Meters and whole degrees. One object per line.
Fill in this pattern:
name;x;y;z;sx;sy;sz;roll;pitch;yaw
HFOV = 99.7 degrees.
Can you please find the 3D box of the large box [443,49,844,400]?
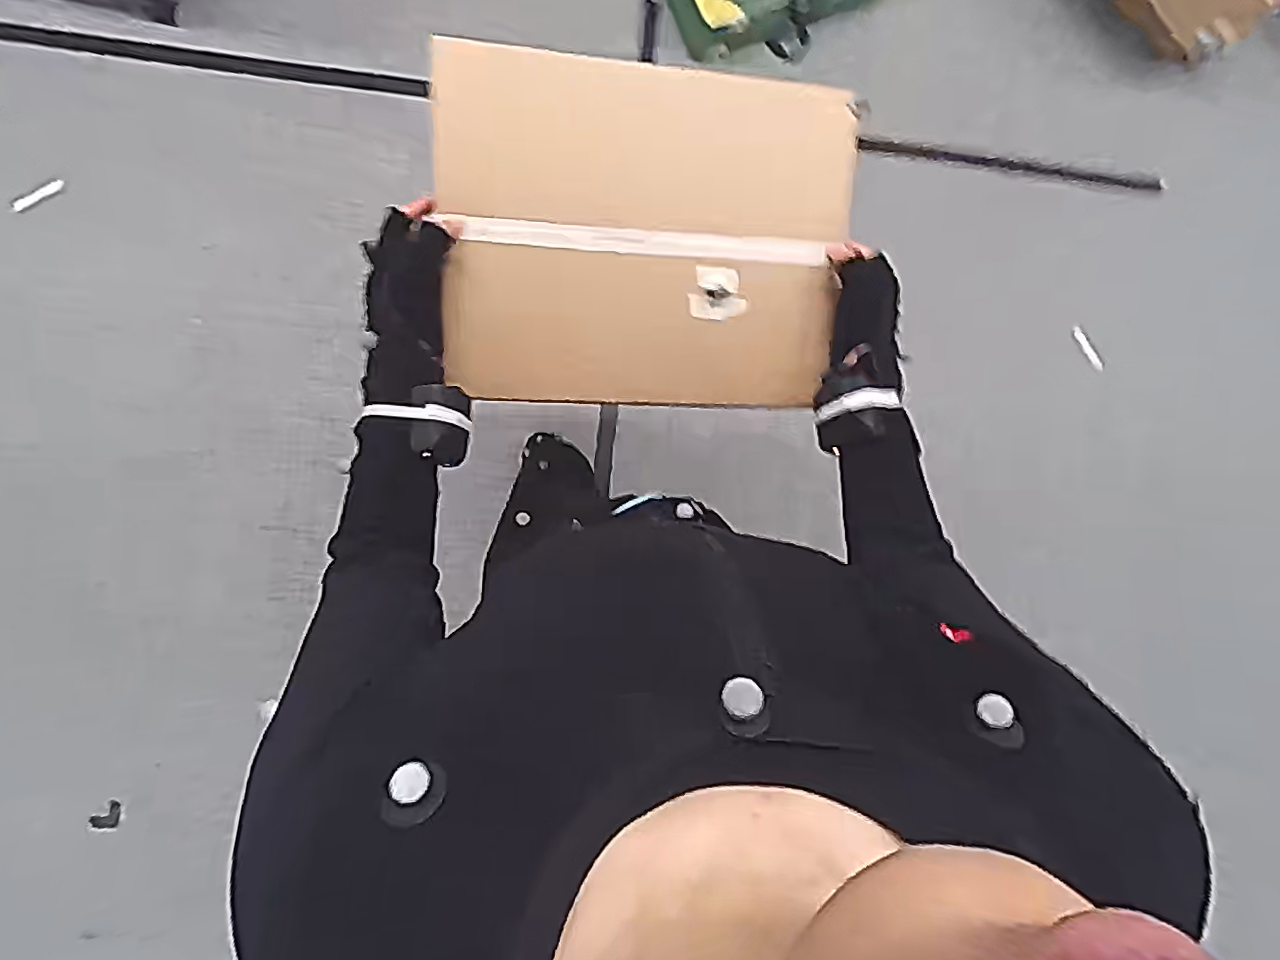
large box;-0.015;-0.266;0.691;0.408;0.320;0.320;1;100;-10
